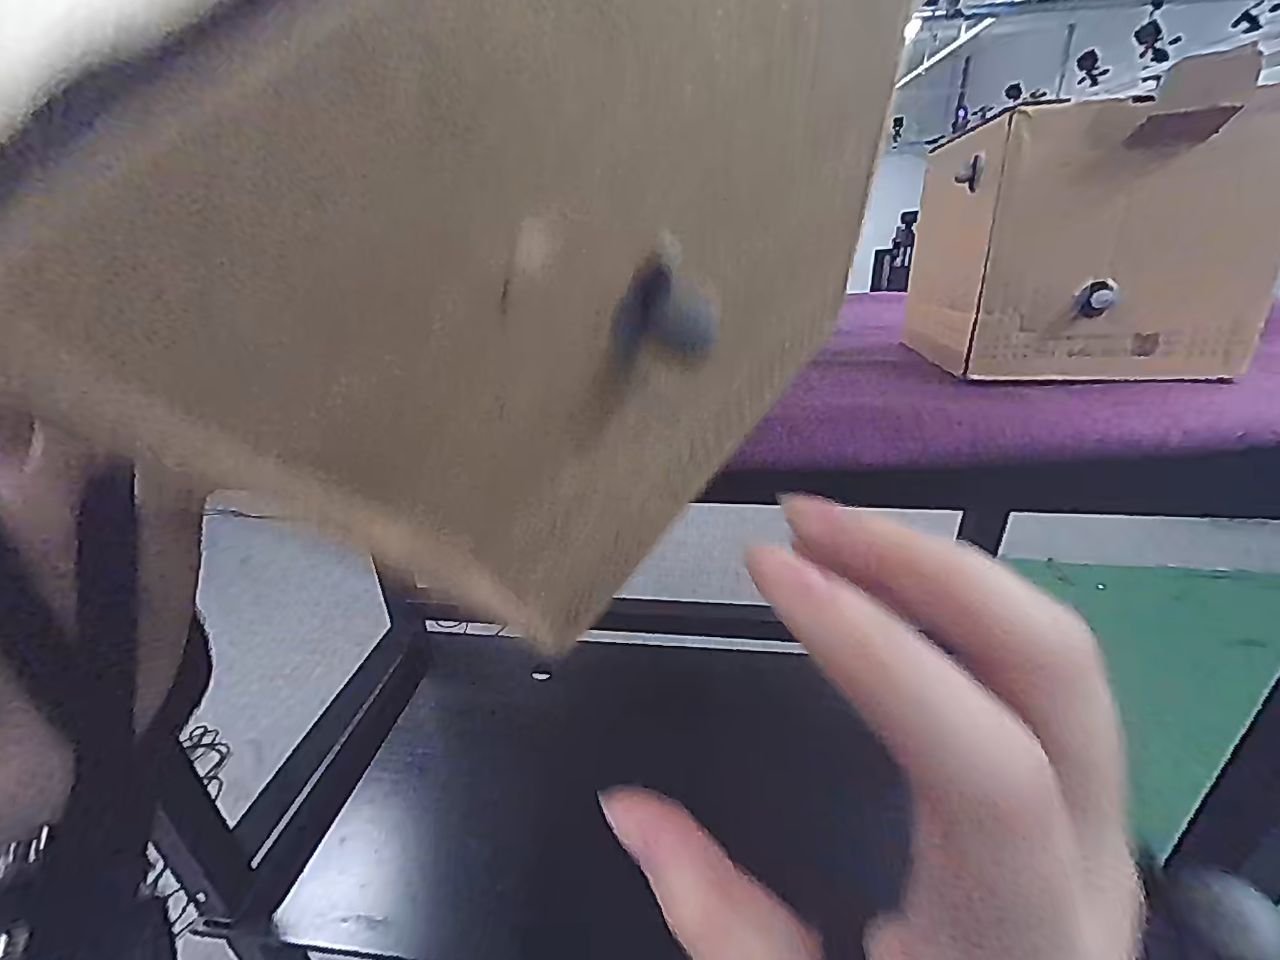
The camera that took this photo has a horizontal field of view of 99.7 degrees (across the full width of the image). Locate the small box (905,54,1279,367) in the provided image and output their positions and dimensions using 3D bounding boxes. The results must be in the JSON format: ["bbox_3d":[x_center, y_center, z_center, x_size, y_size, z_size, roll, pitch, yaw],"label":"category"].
[{"bbox_3d":[0.314,-0.185,0.404,0.168,0.176,0.179,1,24,10],"label":"small box"}]
